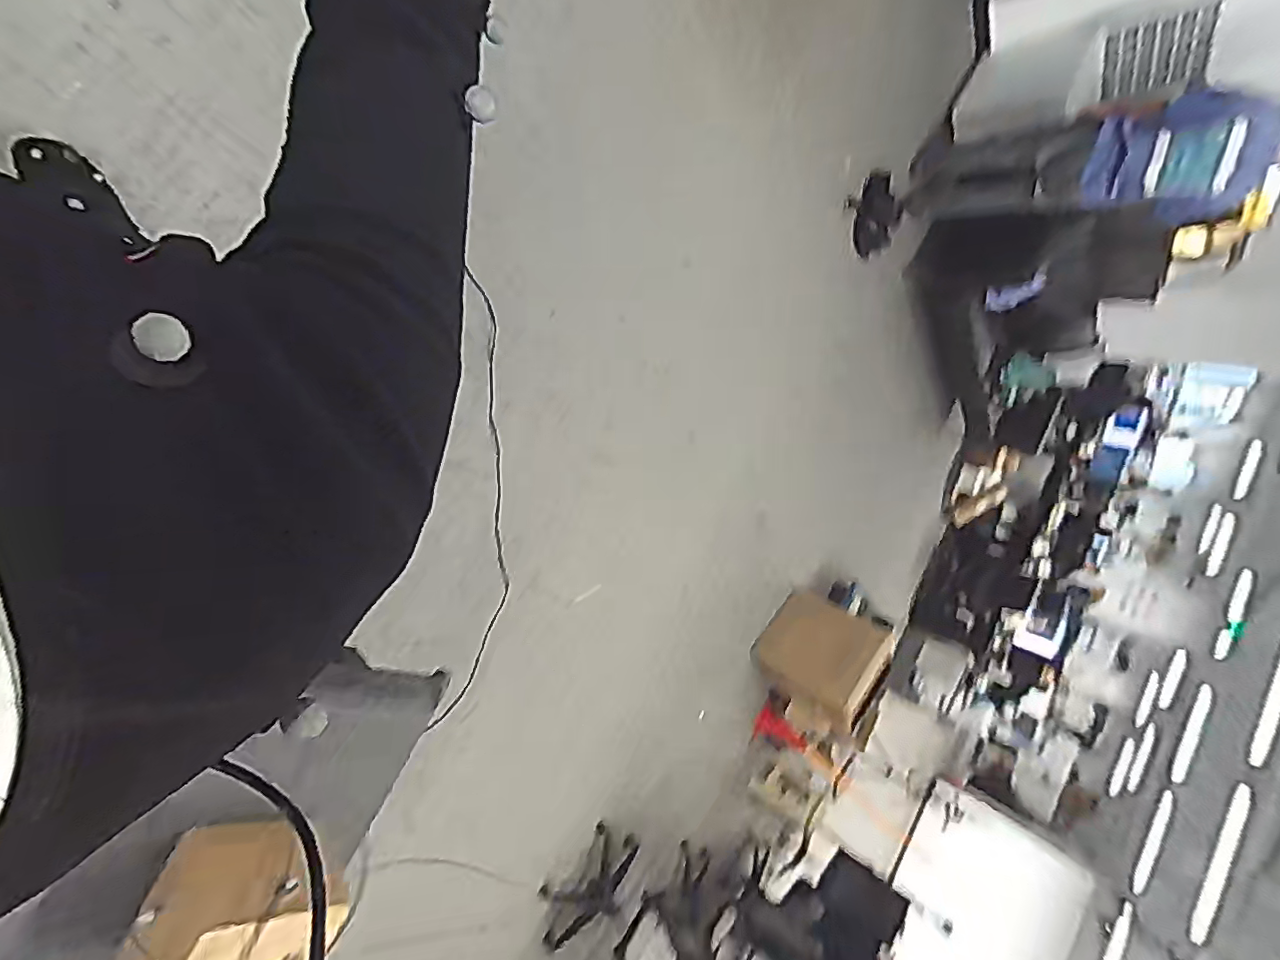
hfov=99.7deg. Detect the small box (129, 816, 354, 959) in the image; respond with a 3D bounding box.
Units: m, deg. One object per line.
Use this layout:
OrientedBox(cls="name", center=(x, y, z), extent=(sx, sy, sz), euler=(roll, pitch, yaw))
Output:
OrientedBox(cls="small box", center=(-0.526, 0.579, 0.717), extent=(0.179, 0.176, 0.168), euler=(33, 81, -47))
